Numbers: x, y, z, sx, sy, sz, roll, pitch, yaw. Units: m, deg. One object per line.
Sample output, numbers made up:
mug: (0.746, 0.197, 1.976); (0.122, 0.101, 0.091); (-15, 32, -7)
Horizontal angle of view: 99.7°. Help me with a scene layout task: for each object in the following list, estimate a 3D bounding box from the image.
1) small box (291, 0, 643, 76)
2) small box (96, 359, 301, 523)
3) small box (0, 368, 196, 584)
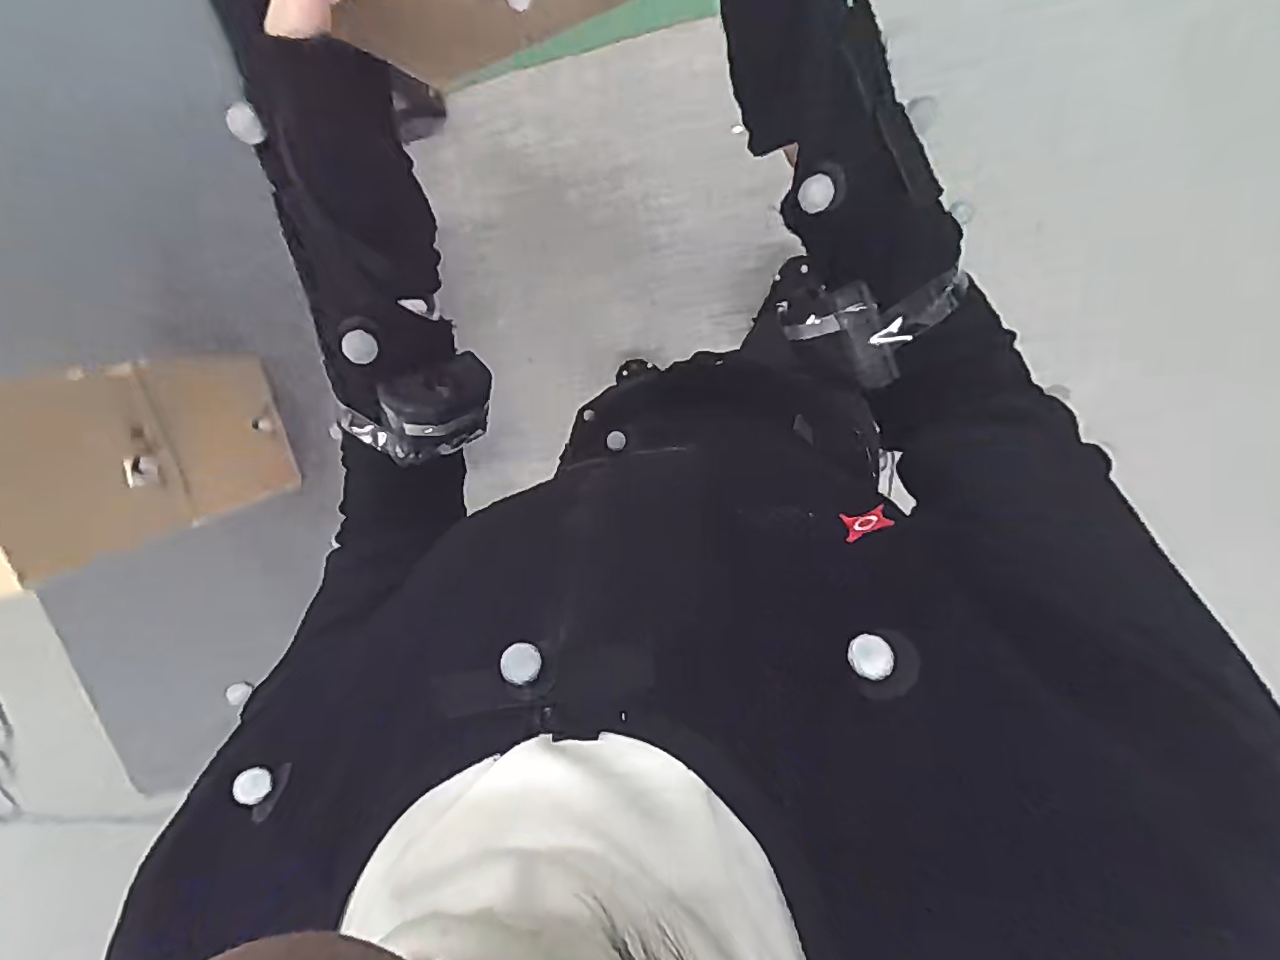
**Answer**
small box: (-0.067, -0.297, 0.217); (0.179, 0.176, 0.168); (-17, 118, 8)
small box: (-0.570, -0.049, 0.667); (0.168, 0.176, 0.179); (-9, 103, 10)
small box: (-0.590, -0.004, 0.512); (0.179, 0.176, 0.168); (-10, 106, 9)
